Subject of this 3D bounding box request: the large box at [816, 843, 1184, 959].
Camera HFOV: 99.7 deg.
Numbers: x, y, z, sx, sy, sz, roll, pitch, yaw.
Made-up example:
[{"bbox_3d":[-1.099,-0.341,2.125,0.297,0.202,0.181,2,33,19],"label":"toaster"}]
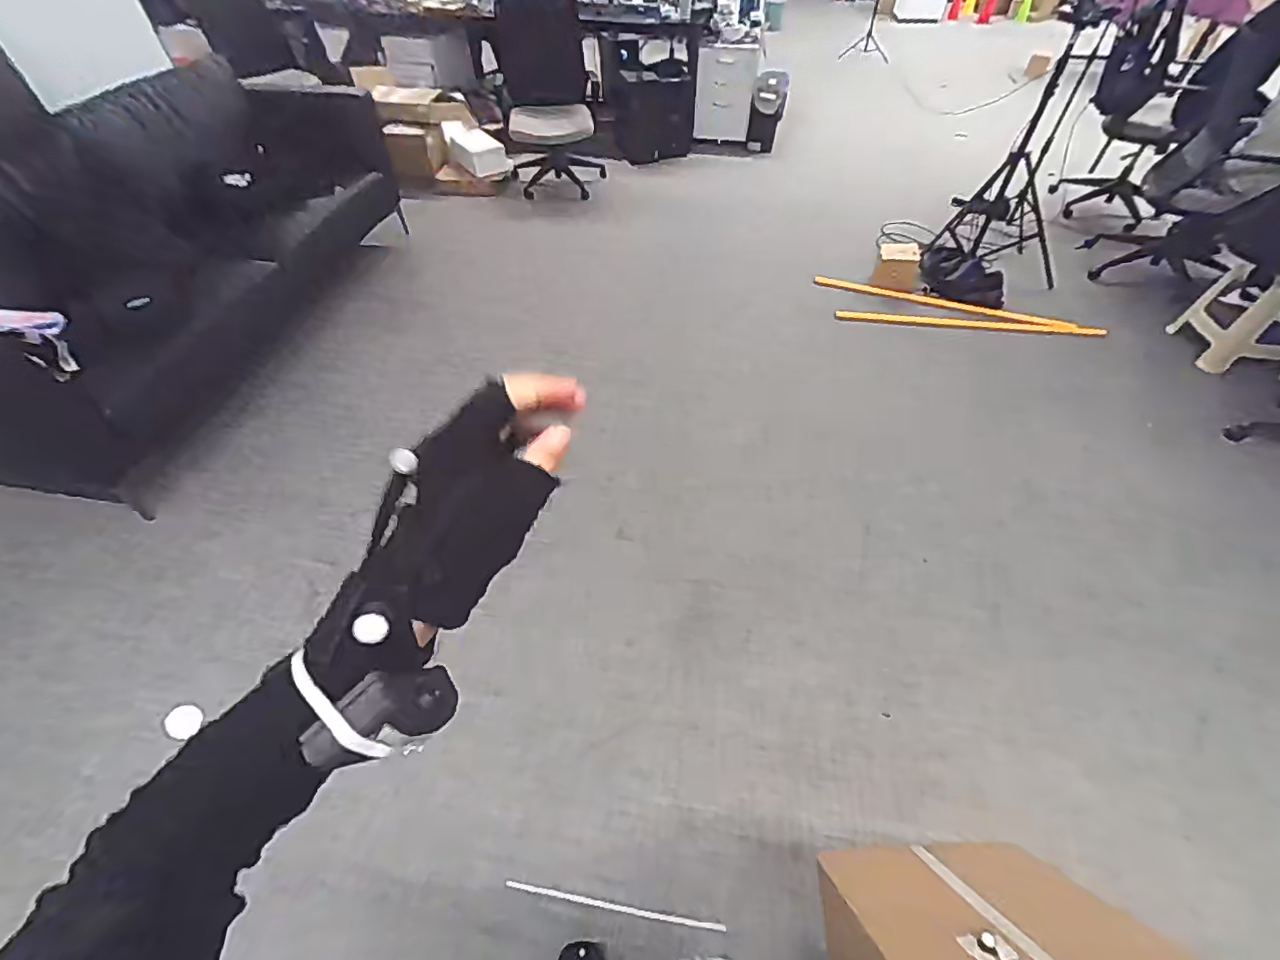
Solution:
[{"bbox_3d":[0.433,0.680,0.621,0.320,0.408,0.320,-4,77,-1],"label":"large box"}]
